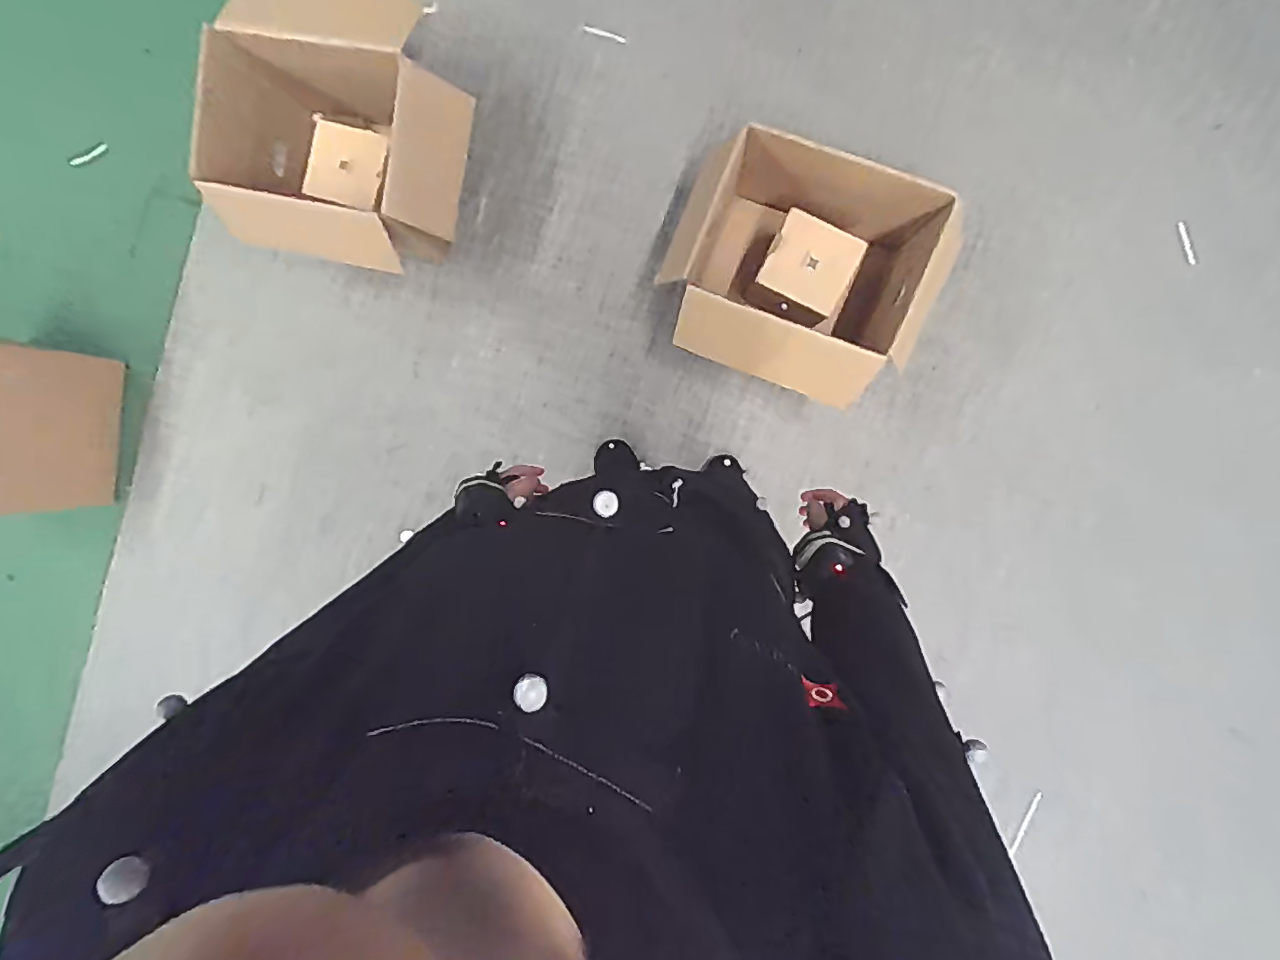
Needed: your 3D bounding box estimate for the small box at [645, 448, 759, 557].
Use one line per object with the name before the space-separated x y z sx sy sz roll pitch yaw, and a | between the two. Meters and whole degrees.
small box | 0.143 0.059 1.241 0.176 0.168 0.179 -28 101 34
